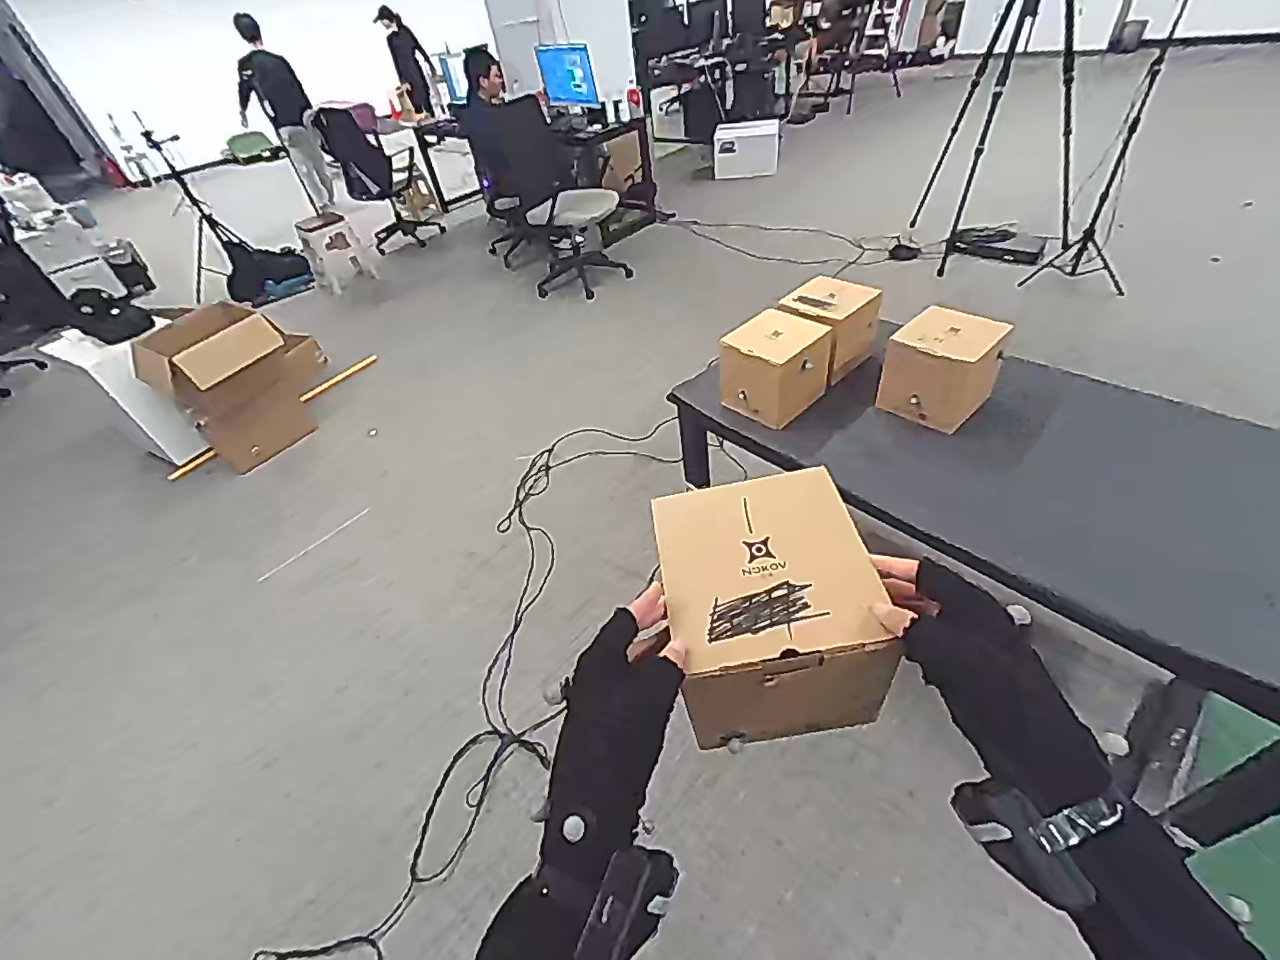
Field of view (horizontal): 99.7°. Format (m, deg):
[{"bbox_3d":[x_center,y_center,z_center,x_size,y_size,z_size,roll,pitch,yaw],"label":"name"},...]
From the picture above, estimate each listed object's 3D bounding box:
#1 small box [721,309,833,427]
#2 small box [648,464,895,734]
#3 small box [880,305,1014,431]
[{"bbox_3d":[0.296,-0.248,1.193,0.179,0.176,0.168,-36,49,-25],"label":"small box"},{"bbox_3d":[0.109,0.117,0.500,0.168,0.176,0.179,-11,46,3],"label":"small box"},{"bbox_3d":[0.621,-0.232,1.116,0.179,0.176,0.168,-36,48,-25],"label":"small box"}]
